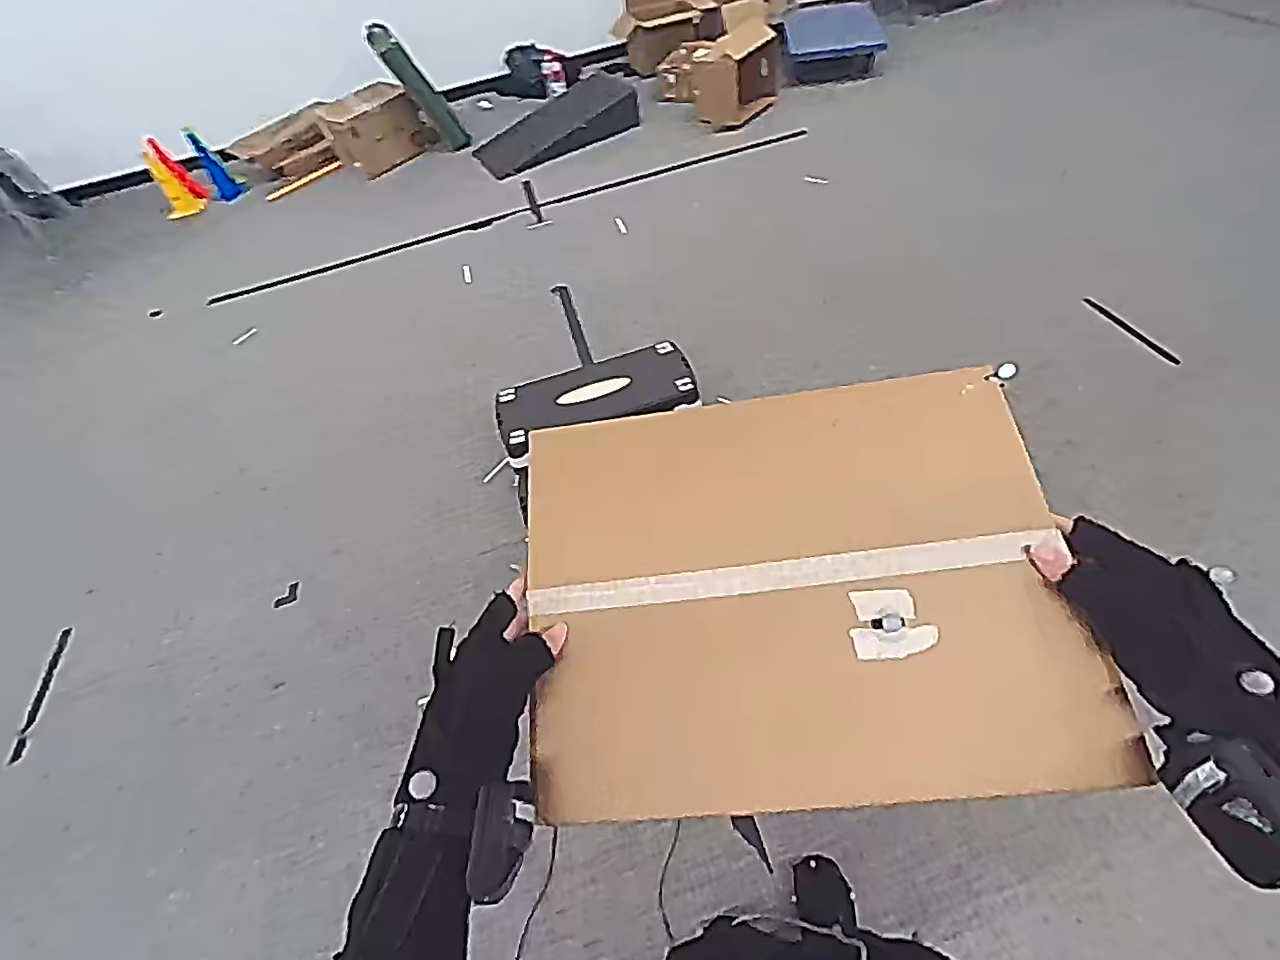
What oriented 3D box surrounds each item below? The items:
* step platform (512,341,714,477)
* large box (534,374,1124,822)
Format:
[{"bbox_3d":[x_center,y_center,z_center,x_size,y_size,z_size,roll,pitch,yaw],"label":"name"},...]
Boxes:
[{"bbox_3d":[-0.094,-0.245,1.875,0.684,0.204,0.286,-18,54,-5],"label":"step platform"},{"bbox_3d":[0.131,0.133,0.568,0.408,0.320,0.320,-8,68,5],"label":"large box"}]
